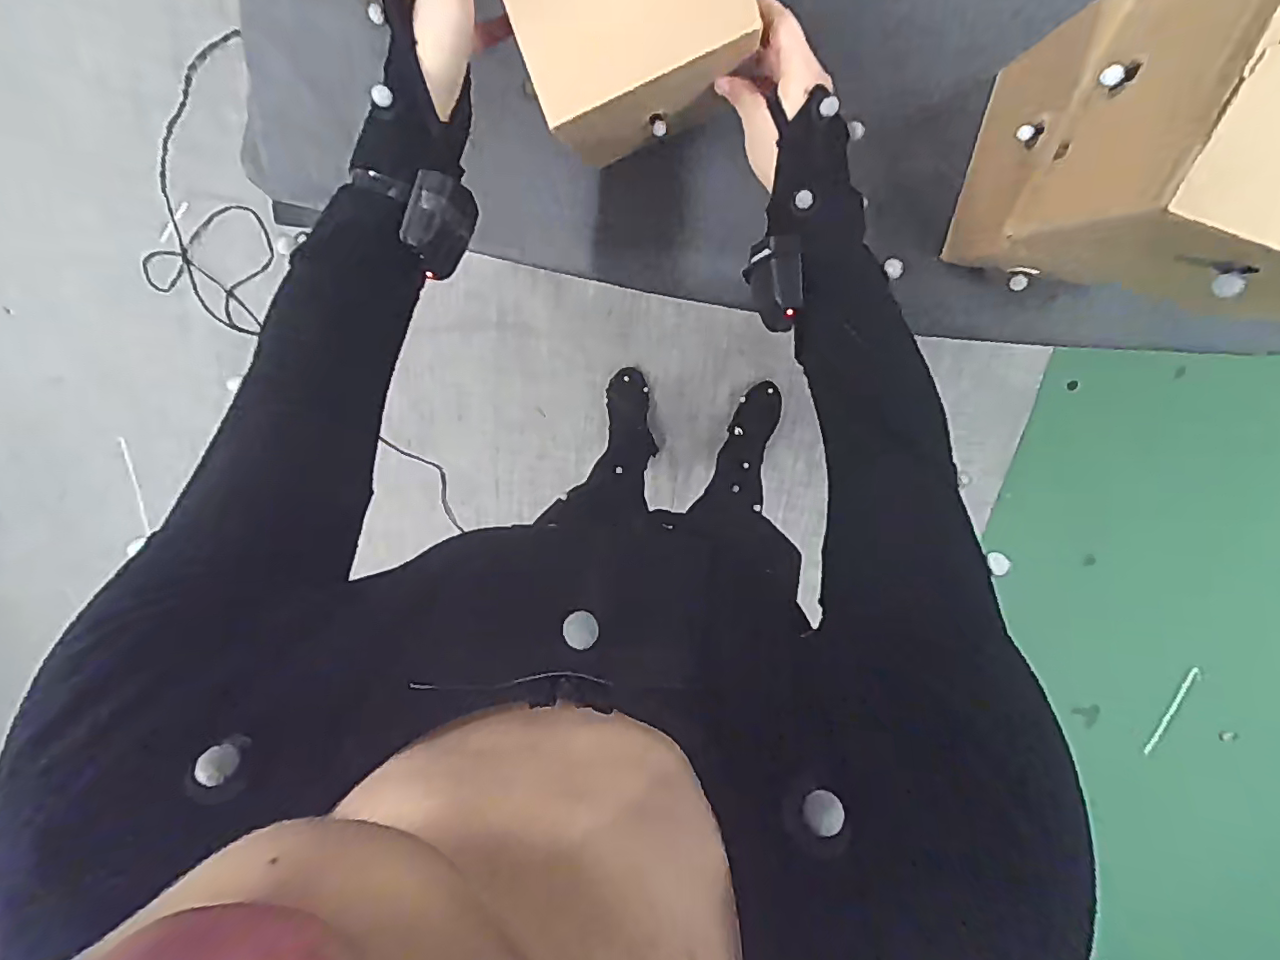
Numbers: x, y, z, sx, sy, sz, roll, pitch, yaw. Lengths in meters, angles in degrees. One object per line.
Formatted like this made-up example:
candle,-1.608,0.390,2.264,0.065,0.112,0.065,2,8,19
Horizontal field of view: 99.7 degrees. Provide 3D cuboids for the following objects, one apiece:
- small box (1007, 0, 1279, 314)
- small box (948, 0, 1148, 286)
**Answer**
small box,0.378,-0.205,0.322,0.179,0.176,0.168,21,111,1
small box,0.401,-0.272,0.469,0.168,0.176,0.179,10,111,5
